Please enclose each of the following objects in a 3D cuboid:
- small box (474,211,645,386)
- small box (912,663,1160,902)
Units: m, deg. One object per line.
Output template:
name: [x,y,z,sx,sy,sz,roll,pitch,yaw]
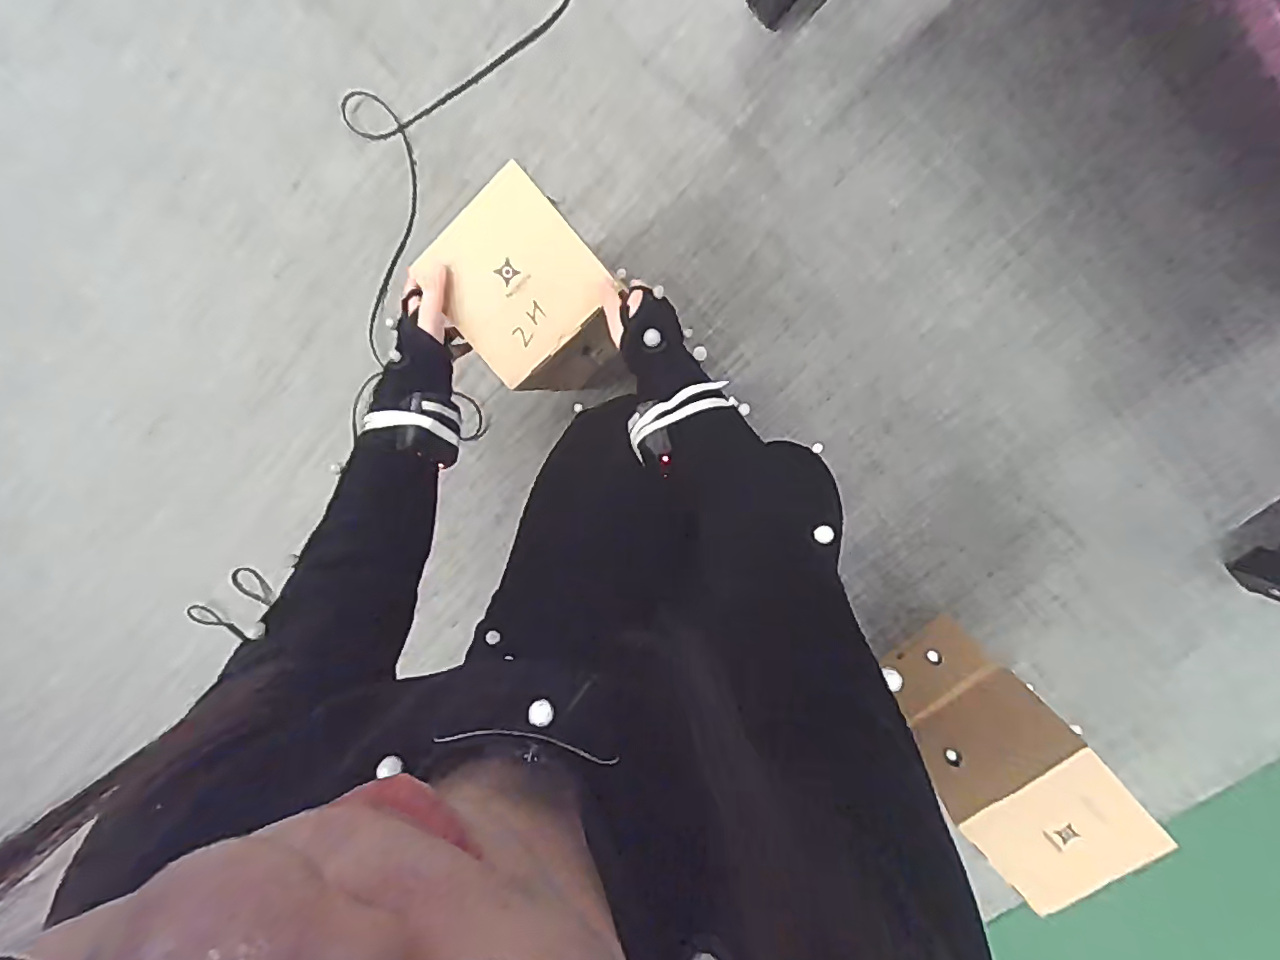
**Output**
small box: [-0.108,-0.258,0.817,0.179,0.176,0.168,-41,94,11]
small box: [0.491,0.382,0.709,0.179,0.176,0.168,-41,96,12]
